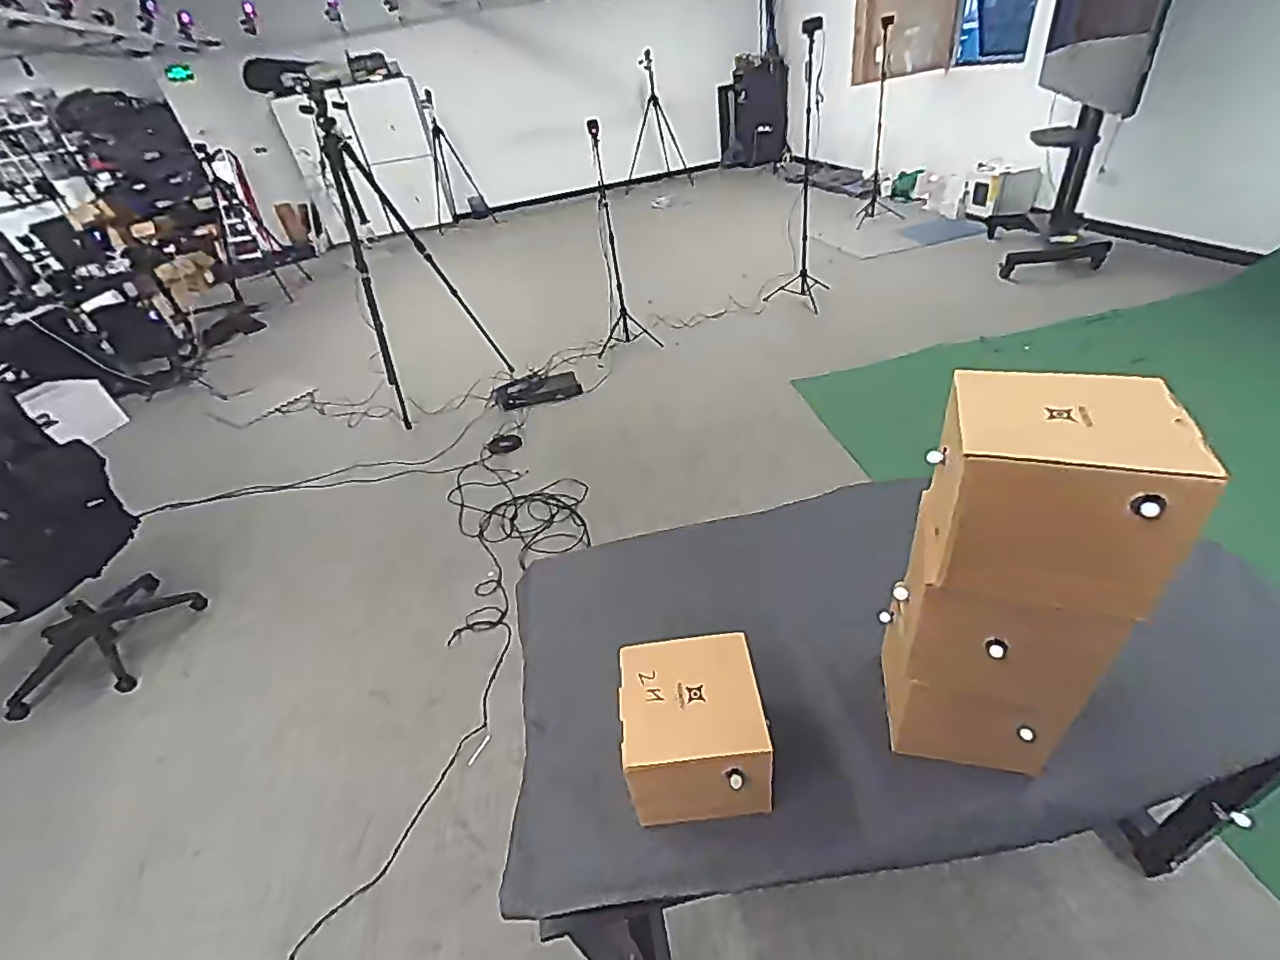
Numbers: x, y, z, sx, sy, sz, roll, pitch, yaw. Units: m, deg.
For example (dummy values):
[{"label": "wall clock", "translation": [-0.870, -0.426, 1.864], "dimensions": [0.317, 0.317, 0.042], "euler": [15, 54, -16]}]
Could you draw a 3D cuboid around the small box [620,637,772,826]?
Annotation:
[{"label": "small box", "translation": [0.072, 0.337, 0.726], "dimensions": [0.179, 0.176, 0.168], "euler": [-8, 37, 3]}]

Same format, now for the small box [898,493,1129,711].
[{"label": "small box", "translation": [0.411, 0.139, 0.629], "dimensions": [0.179, 0.176, 0.168], "euler": [7, 39, 23]}]

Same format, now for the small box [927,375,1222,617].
[{"label": "small box", "translation": [0.390, 0.011, 0.531], "dimensions": [0.179, 0.176, 0.168], "euler": [7, 39, 22]}]
